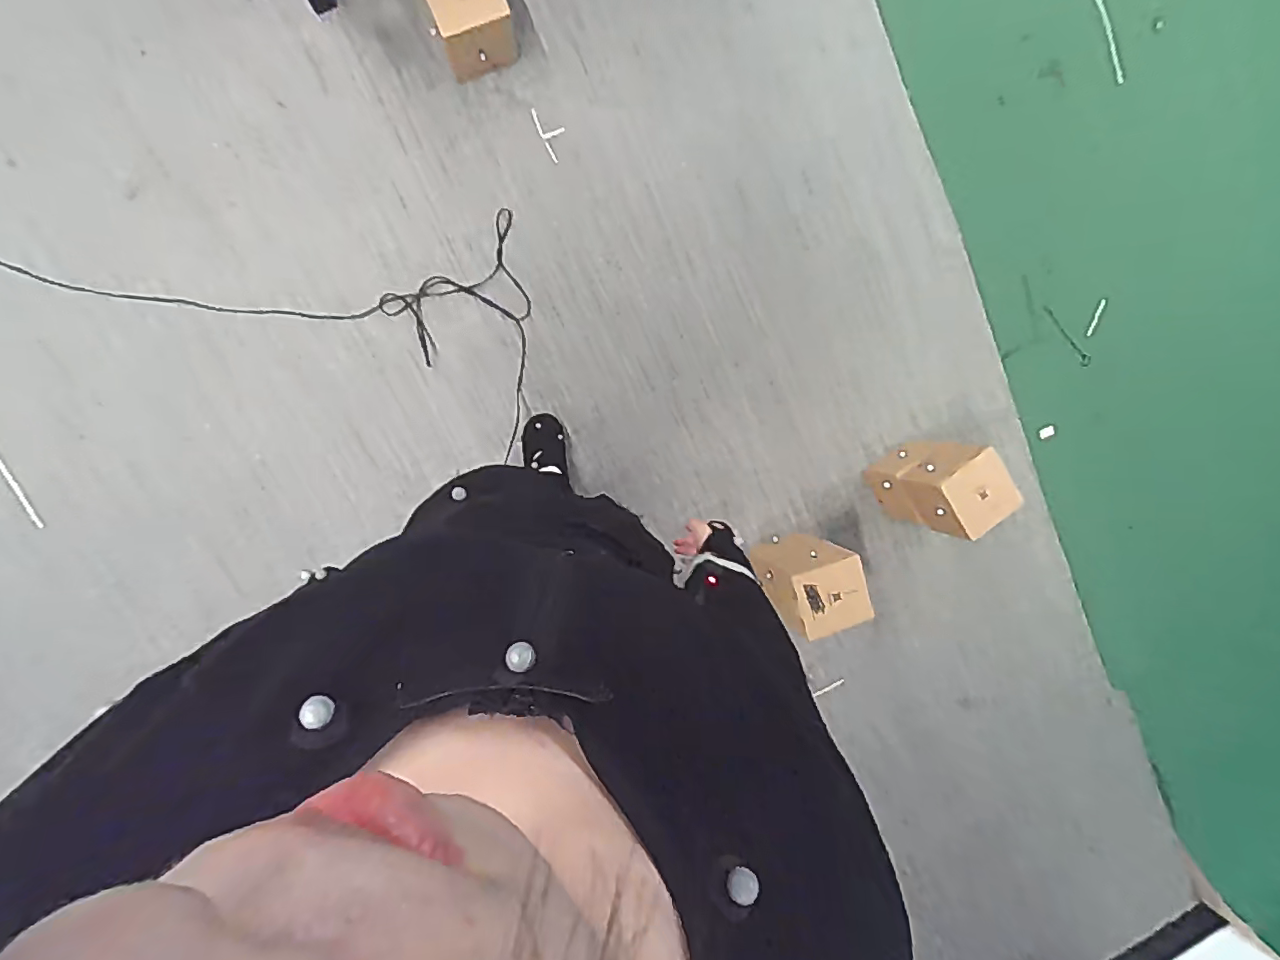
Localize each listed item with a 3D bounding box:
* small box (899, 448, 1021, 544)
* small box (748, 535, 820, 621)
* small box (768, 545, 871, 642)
[{"bbox_3d":[0.800,0.034,1.371,0.168,0.176,0.179,-35,99,-3],"label":"small box"},{"bbox_3d":[0.414,0.267,1.504,0.179,0.176,0.168,-18,98,-5],"label":"small box"},{"bbox_3d":[0.434,0.274,1.340,0.179,0.176,0.168,-17,97,-7],"label":"small box"}]
